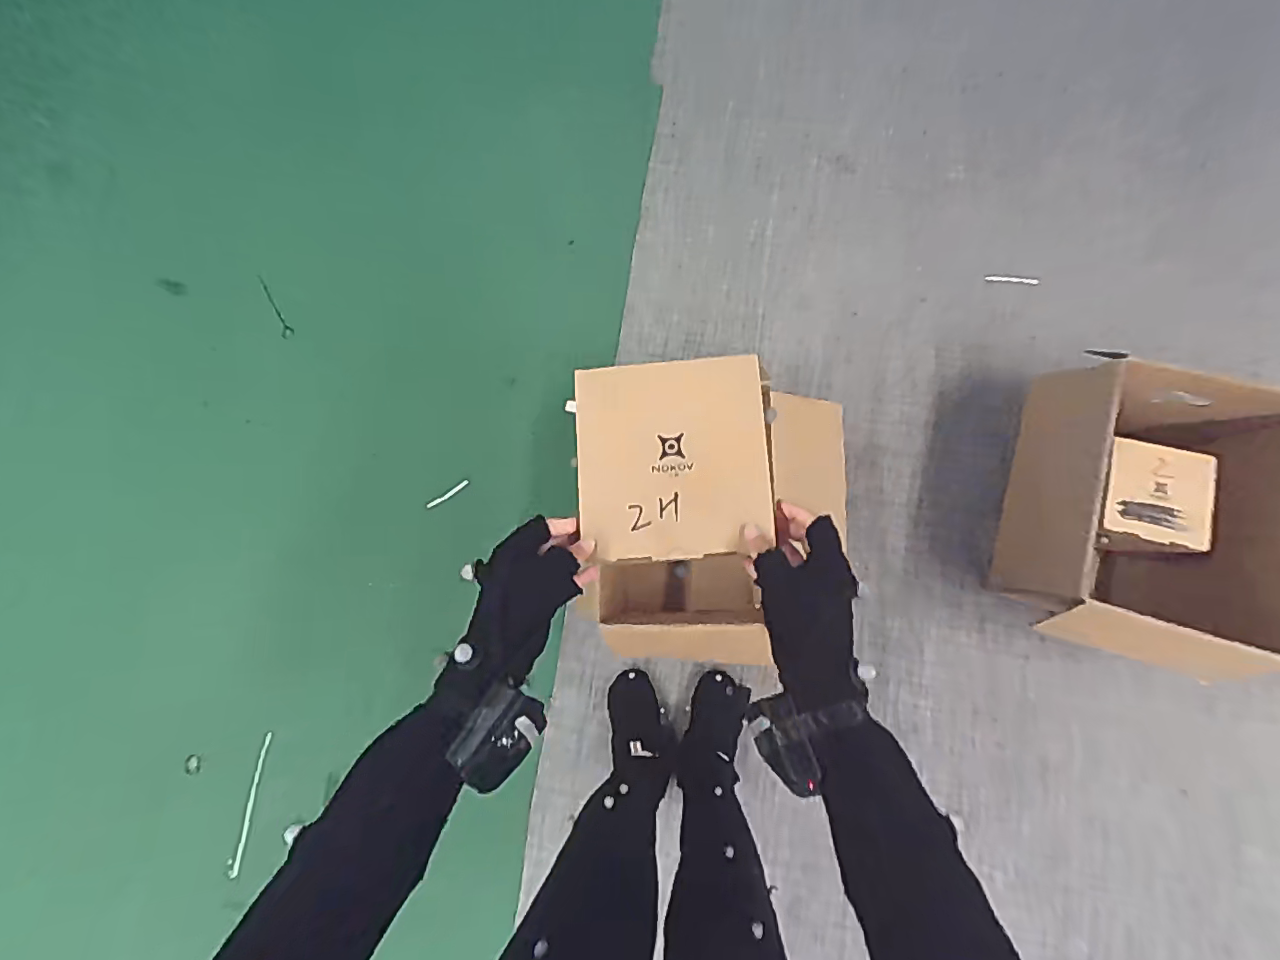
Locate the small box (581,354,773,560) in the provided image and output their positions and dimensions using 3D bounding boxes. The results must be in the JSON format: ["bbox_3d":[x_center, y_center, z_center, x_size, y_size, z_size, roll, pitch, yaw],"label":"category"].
[{"bbox_3d":[0.037,-0.011,0.556,0.168,0.176,0.179,-4,81,6],"label":"small box"}]
